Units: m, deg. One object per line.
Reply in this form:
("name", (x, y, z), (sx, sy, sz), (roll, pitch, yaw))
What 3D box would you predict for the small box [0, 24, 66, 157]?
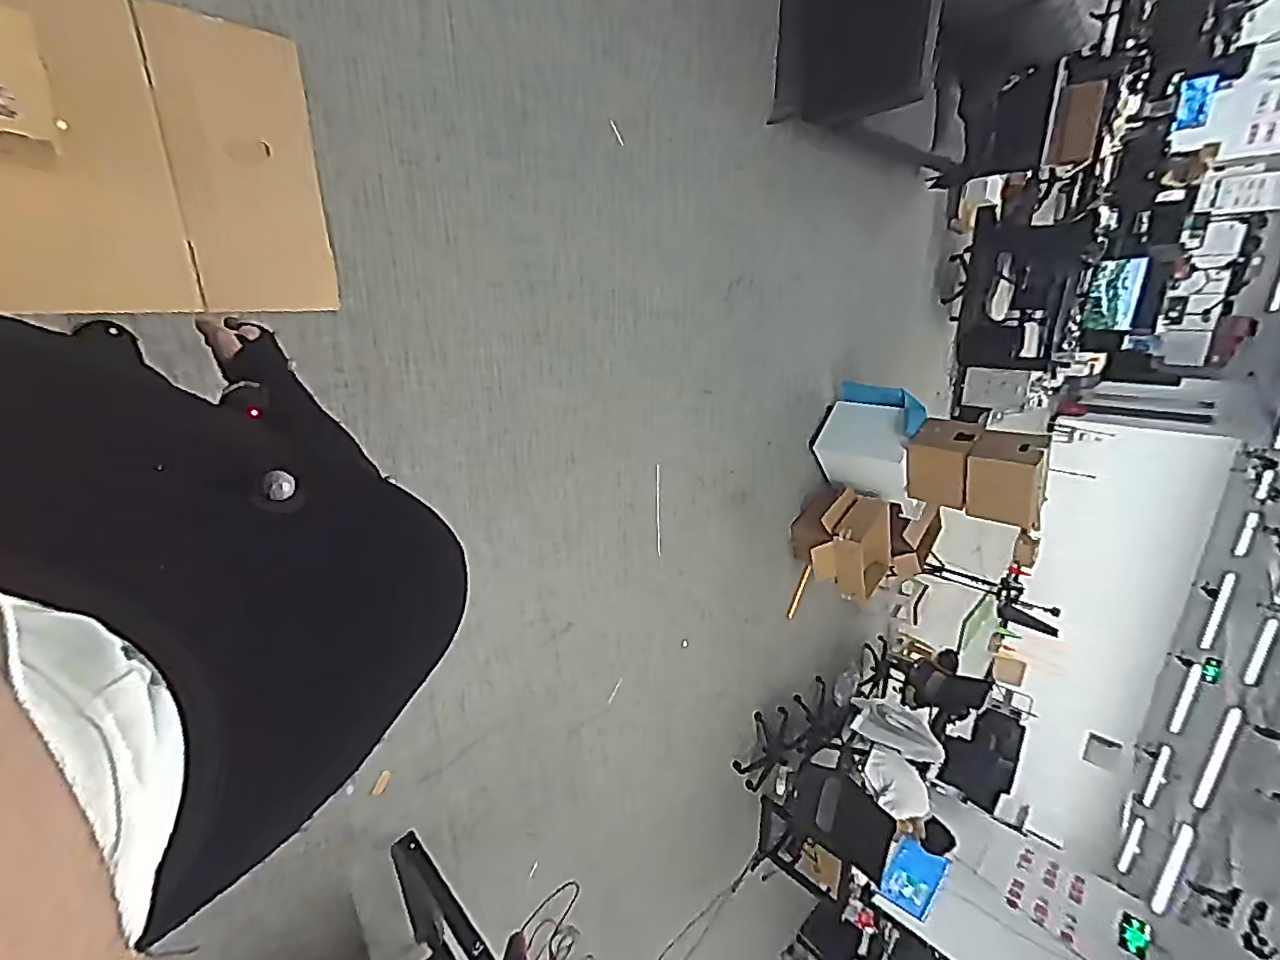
("small box", (-1.128, -0.677, 0.928), (0.179, 0.176, 0.168), (-12, 112, -44))
